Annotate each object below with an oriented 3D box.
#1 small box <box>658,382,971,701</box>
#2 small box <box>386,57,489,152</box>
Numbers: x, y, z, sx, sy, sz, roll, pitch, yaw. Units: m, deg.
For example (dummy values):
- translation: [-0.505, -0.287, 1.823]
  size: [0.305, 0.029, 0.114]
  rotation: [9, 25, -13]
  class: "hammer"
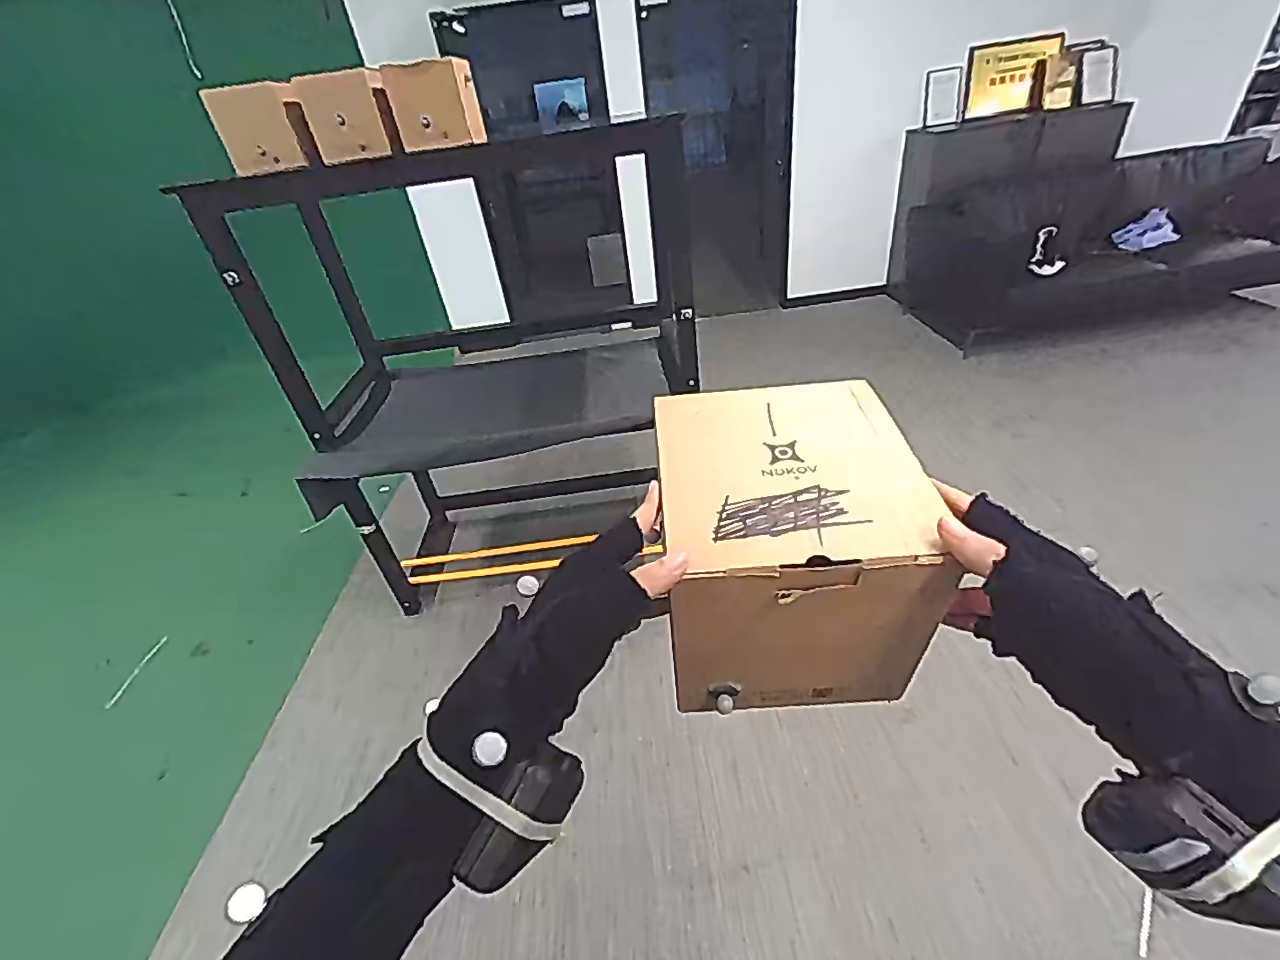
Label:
- translation: [0.103, 0.049, 0.405]
  size: [0.168, 0.176, 0.179]
  rotation: [-4, 41, 2]
  class: "small box"
- translation: [-0.472, -0.892, 1.292]
  size: [0.168, 0.176, 0.179]
  rotation: [-7, 36, 1]
  class: "small box"
